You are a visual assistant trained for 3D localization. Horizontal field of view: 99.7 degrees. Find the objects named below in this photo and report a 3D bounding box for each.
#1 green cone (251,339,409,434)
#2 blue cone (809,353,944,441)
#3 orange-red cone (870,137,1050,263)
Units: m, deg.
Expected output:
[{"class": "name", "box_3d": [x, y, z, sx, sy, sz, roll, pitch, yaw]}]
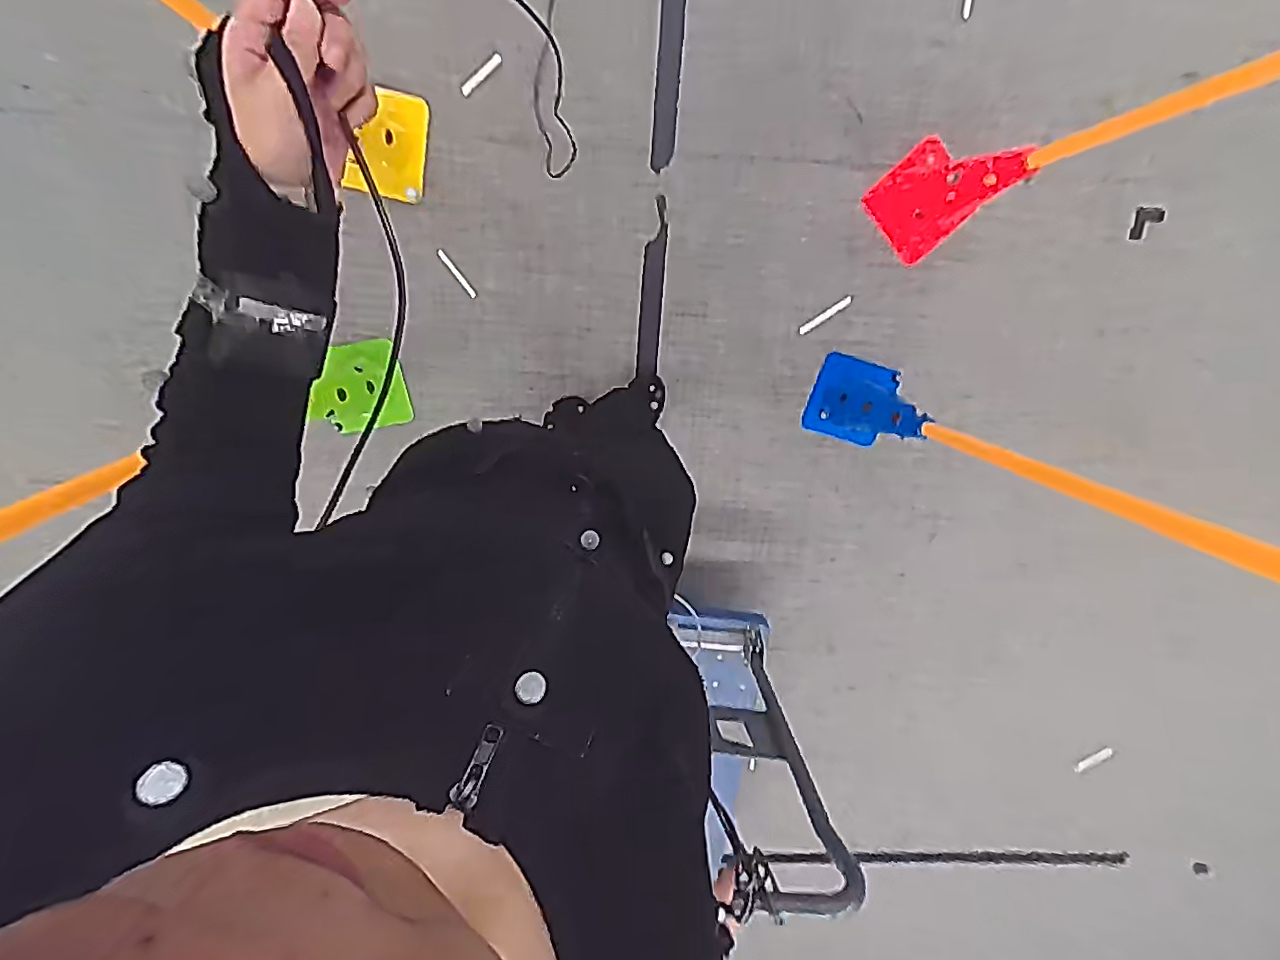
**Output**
[{"class": "green cone", "box_3d": [-0.653, -0.171, 1.106, 0.200, 0.368, 0.202, -10, 105, 1]}, {"class": "blue cone", "box_3d": [0.527, -0.155, 1.164, 0.193, 0.380, 0.192, 18, 104, -7]}, {"class": "orange-red cone", "box_3d": [0.634, -0.564, 1.030, 0.199, 0.360, 0.198, -40, 103, 11]}]
